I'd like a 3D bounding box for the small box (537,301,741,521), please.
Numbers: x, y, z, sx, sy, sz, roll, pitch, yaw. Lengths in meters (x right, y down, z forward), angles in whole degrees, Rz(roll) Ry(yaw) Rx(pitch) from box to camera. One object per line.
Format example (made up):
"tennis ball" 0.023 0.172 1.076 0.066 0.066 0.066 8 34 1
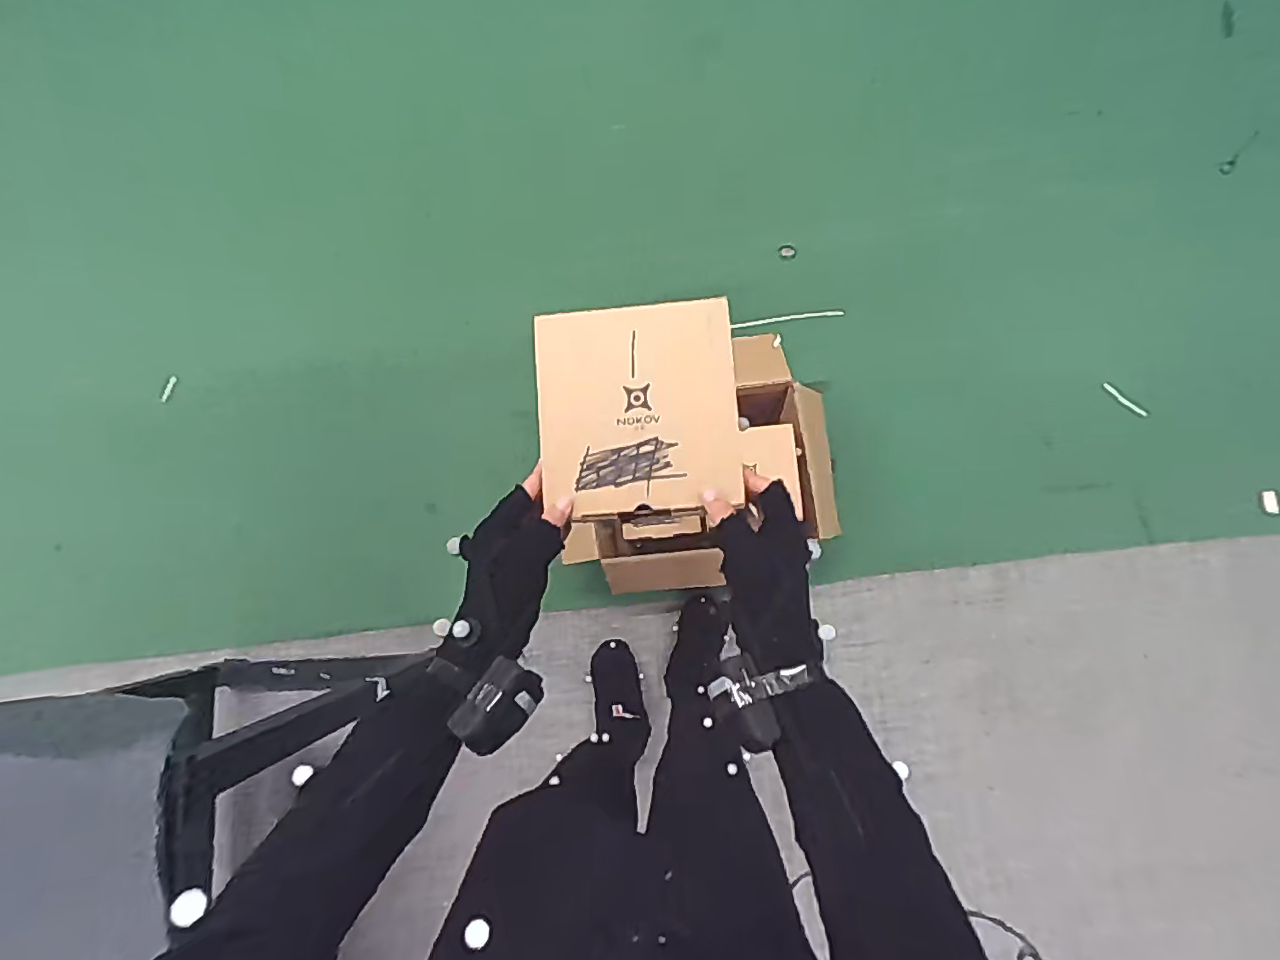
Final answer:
"small box" 0.005 -0.052 0.529 0.168 0.176 0.179 -5 84 4
